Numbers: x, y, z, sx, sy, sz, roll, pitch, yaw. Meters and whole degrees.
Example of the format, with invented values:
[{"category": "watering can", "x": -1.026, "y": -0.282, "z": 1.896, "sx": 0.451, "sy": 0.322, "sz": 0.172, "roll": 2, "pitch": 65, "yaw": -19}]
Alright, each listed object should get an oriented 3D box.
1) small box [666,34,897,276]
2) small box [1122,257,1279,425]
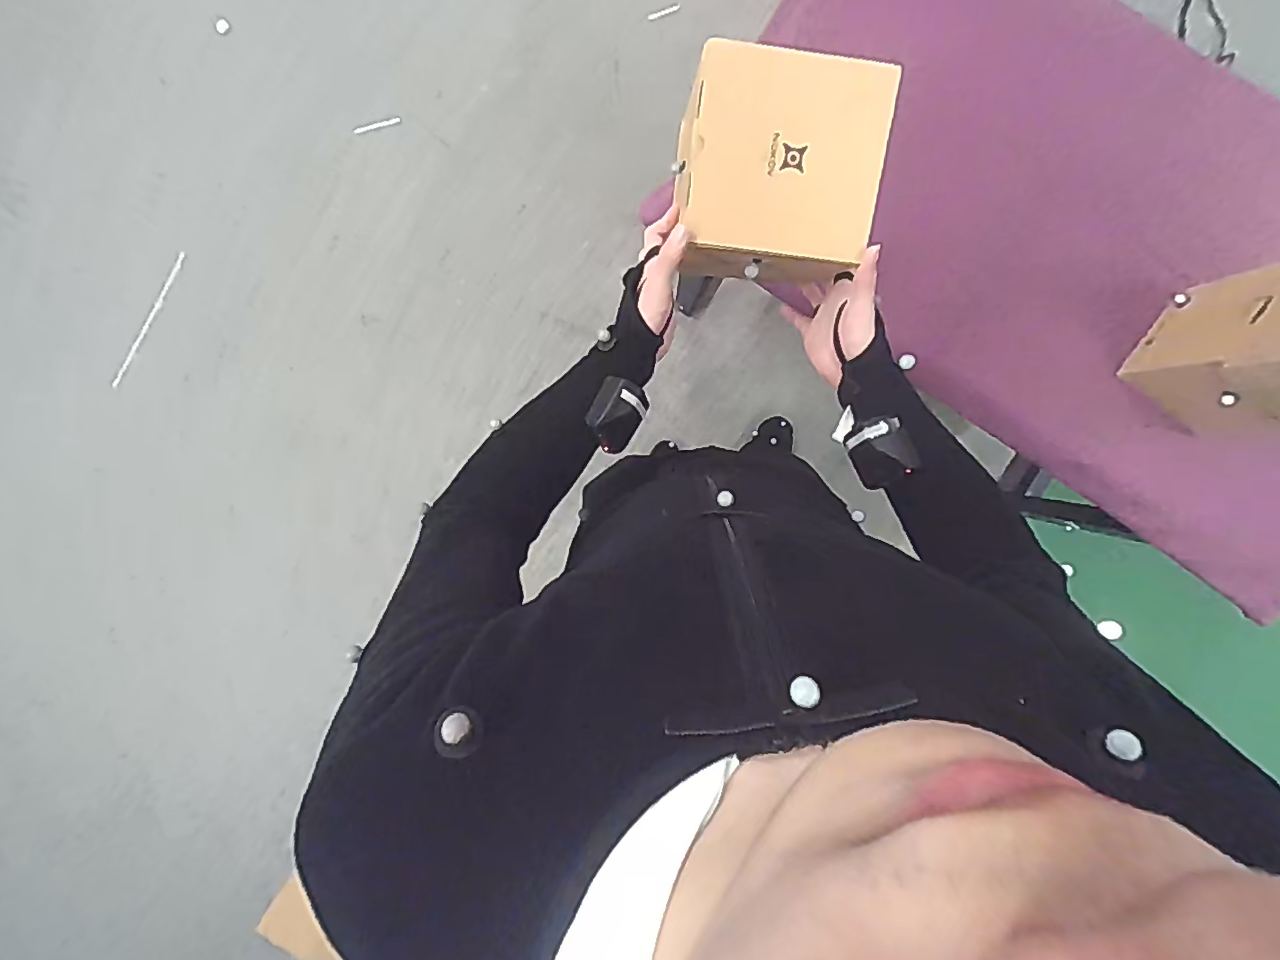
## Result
[{"category": "small box", "x": 0.127, "y": -0.313, "z": 0.560, "sx": 0.179, "sy": 0.176, "sz": 0.168, "roll": 5, "pitch": 103, "yaw": -3}, {"category": "small box", "x": 0.880, "y": -0.189, "z": 0.789, "sx": 0.179, "sy": 0.176, "sz": 0.168, "roll": 35, "pitch": 95, "yaw": -2}]
